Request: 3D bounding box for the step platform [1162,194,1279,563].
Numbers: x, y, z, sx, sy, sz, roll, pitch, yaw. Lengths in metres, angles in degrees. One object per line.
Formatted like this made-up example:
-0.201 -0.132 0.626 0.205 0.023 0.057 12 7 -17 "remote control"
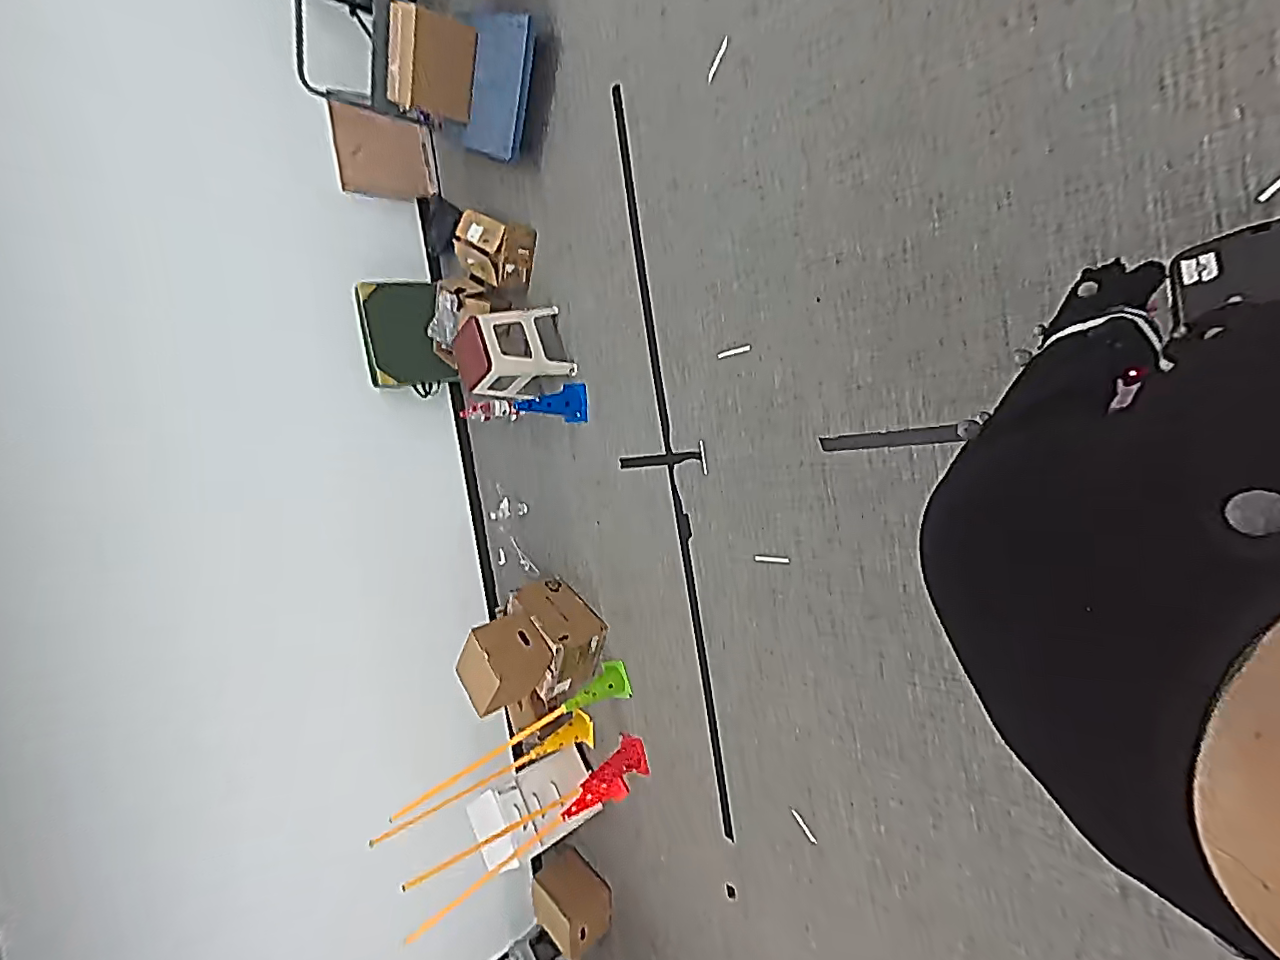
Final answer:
1.221 -0.185 1.023 0.286 0.204 0.684 -7 93 48 "step platform"
